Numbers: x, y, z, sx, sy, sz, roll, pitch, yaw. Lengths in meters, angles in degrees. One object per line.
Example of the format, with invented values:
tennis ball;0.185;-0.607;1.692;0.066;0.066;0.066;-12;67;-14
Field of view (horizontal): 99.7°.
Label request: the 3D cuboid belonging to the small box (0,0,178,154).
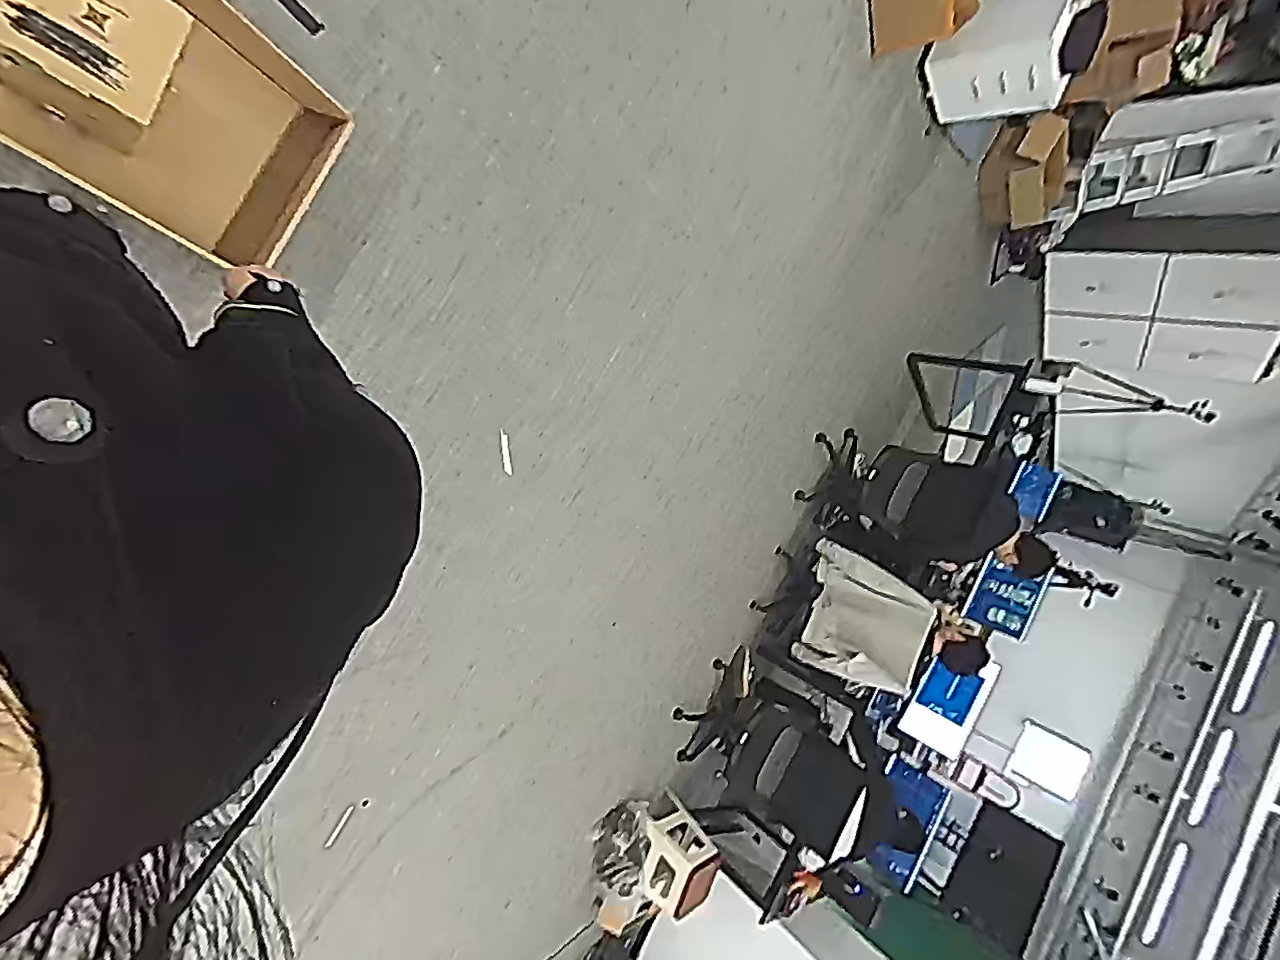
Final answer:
small box;-0.895;-0.668;0.876;0.168;0.176;0.179;24;89;-48
